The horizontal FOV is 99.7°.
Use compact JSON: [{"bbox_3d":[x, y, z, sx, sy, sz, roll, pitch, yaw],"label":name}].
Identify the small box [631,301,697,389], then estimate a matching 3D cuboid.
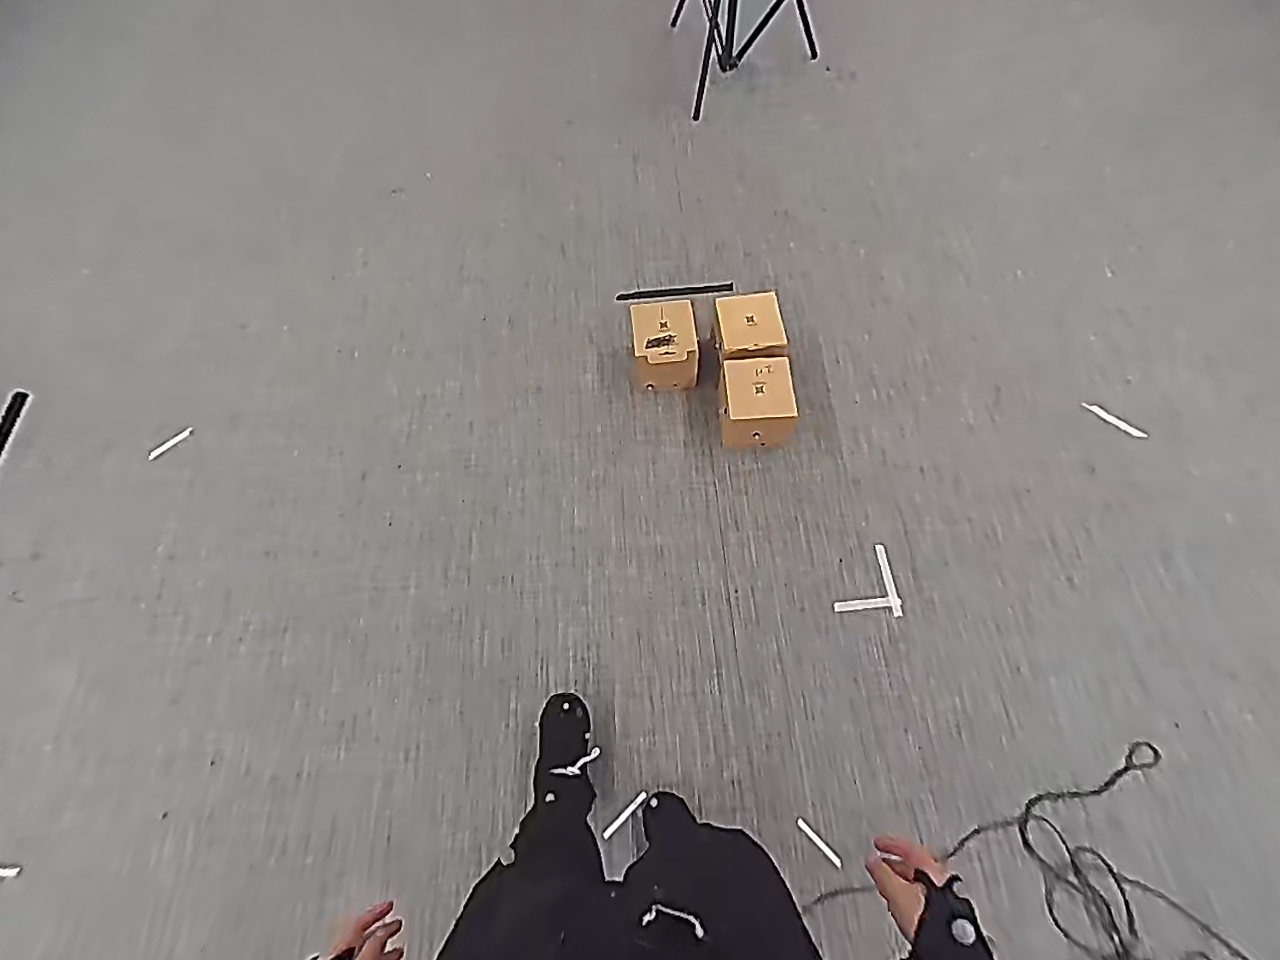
[{"bbox_3d":[0.066,-0.364,1.497,0.168,0.176,0.179,-5,66,0],"label":"small box"}]
